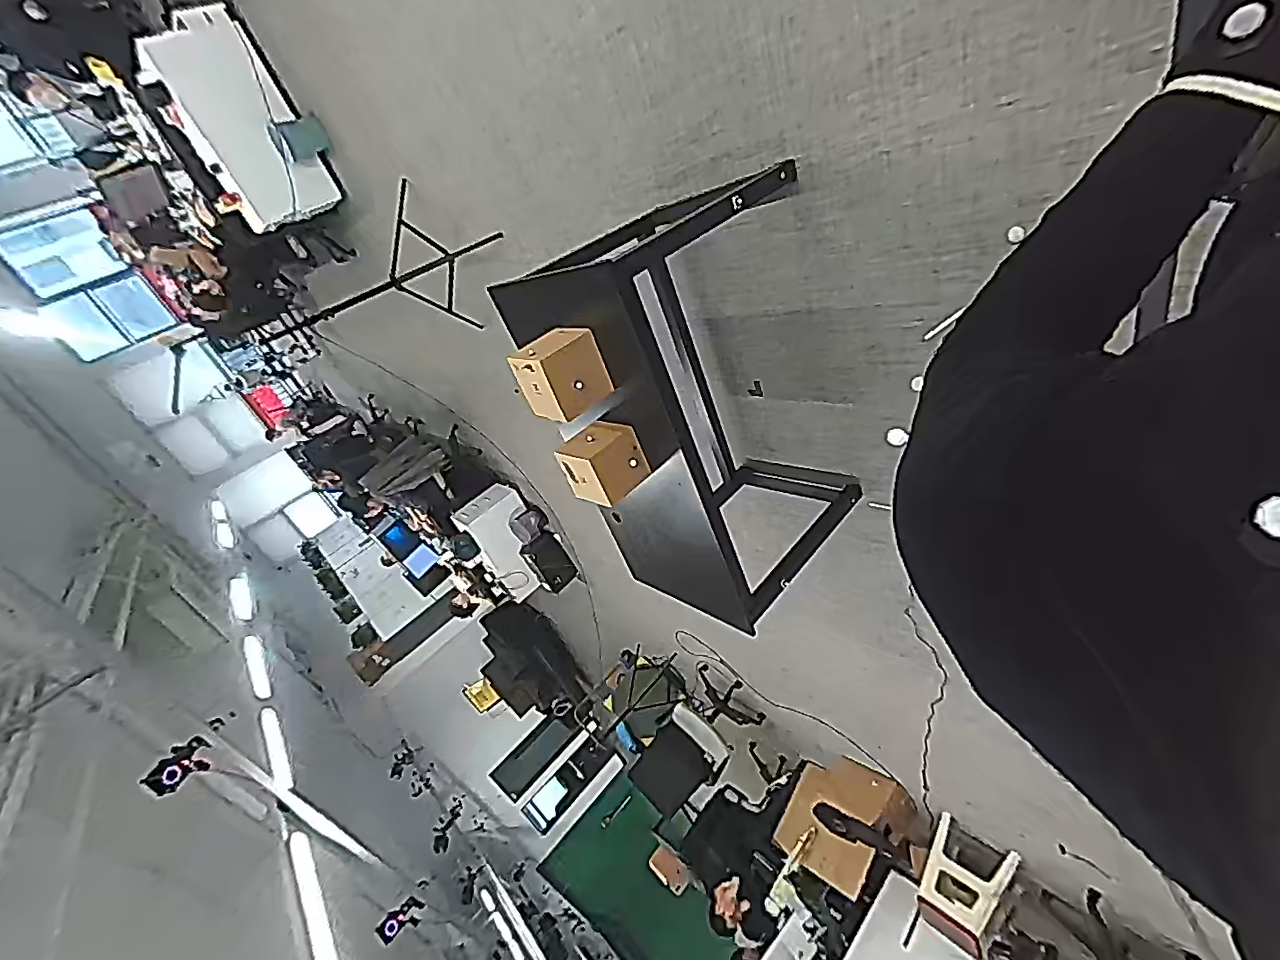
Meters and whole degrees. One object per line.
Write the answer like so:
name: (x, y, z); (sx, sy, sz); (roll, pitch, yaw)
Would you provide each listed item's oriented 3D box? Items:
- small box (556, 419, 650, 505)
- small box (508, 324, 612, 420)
small box: (-0.101, -0.059, 1.536); (0.179, 0.176, 0.168); (16, 138, 48)
small box: (-0.199, -0.281, 1.394); (0.168, 0.176, 0.179); (19, 141, 47)
